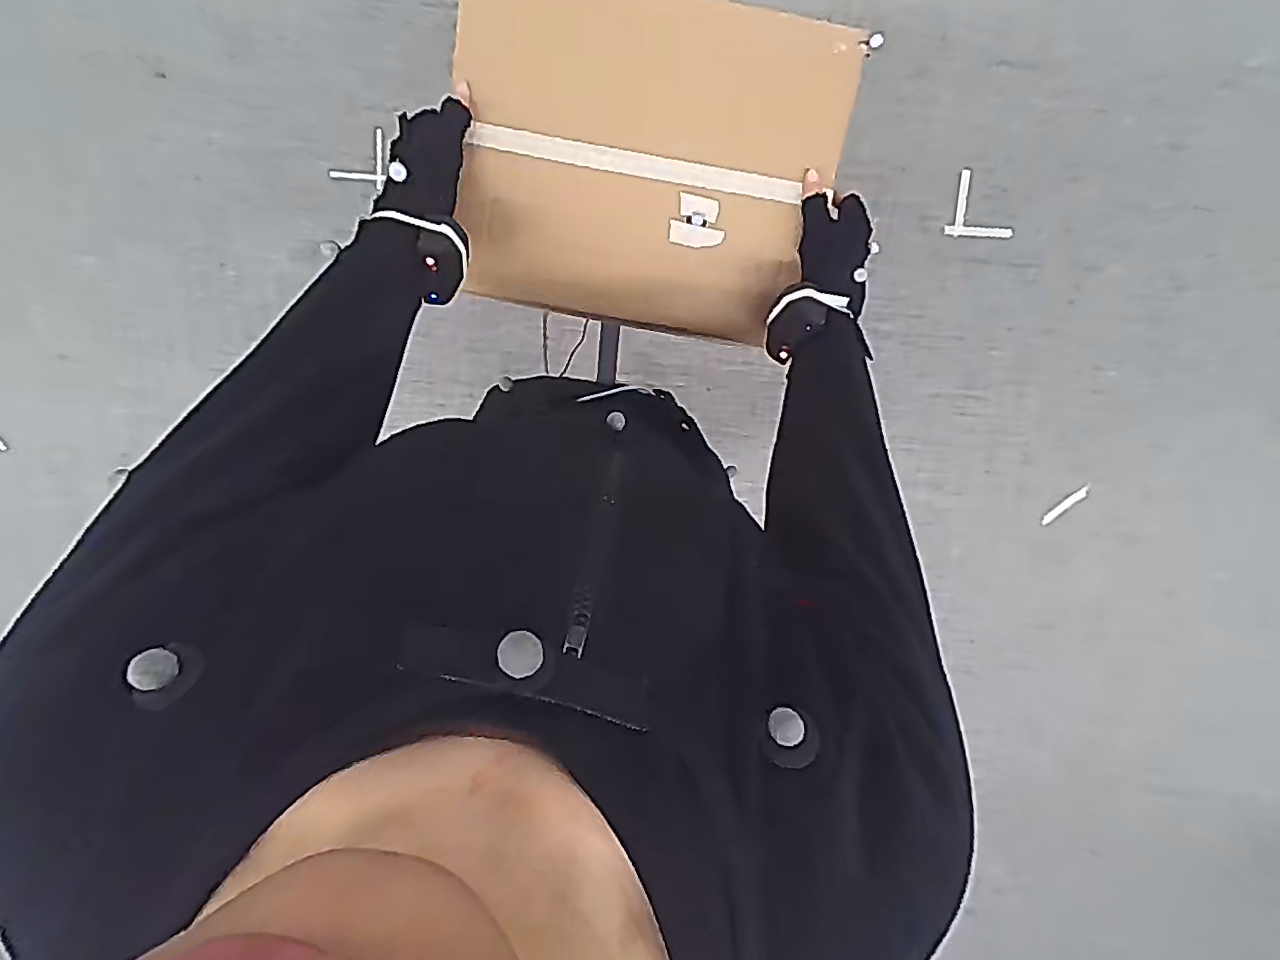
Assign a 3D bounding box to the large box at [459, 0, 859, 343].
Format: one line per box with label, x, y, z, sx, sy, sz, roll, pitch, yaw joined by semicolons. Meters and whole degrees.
large box;0.007;-0.372;0.731;0.408;0.320;0.320;9;105;-3
